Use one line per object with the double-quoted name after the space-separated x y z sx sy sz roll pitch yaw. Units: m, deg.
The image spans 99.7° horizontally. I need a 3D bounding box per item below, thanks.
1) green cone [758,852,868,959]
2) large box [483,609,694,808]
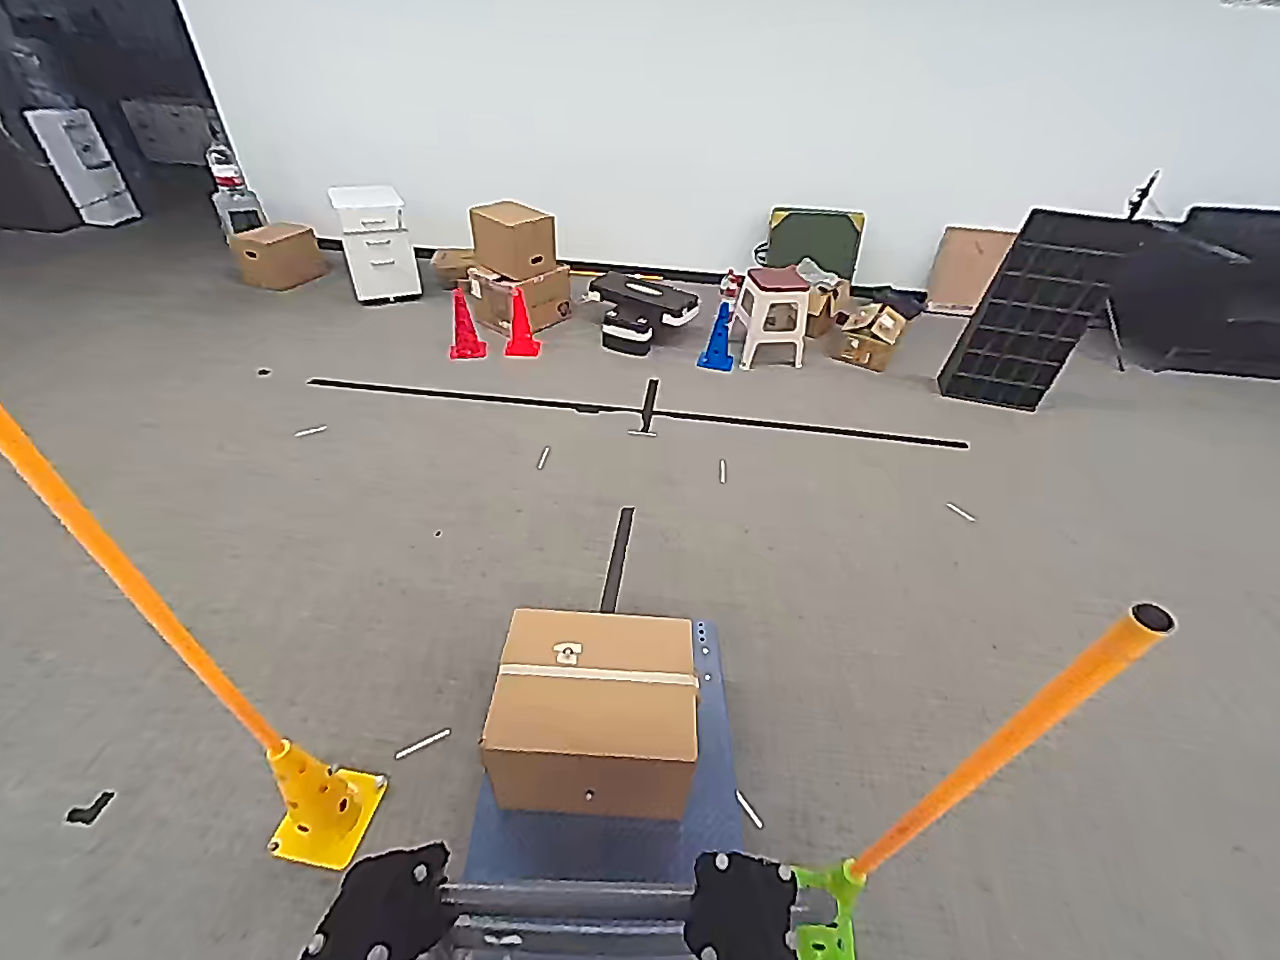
0.377 0.840 1.097 0.202 0.368 0.200 10 40 5 "green cone"
-0.095 0.515 1.220 0.408 0.320 0.320 3 41 1 "large box"
